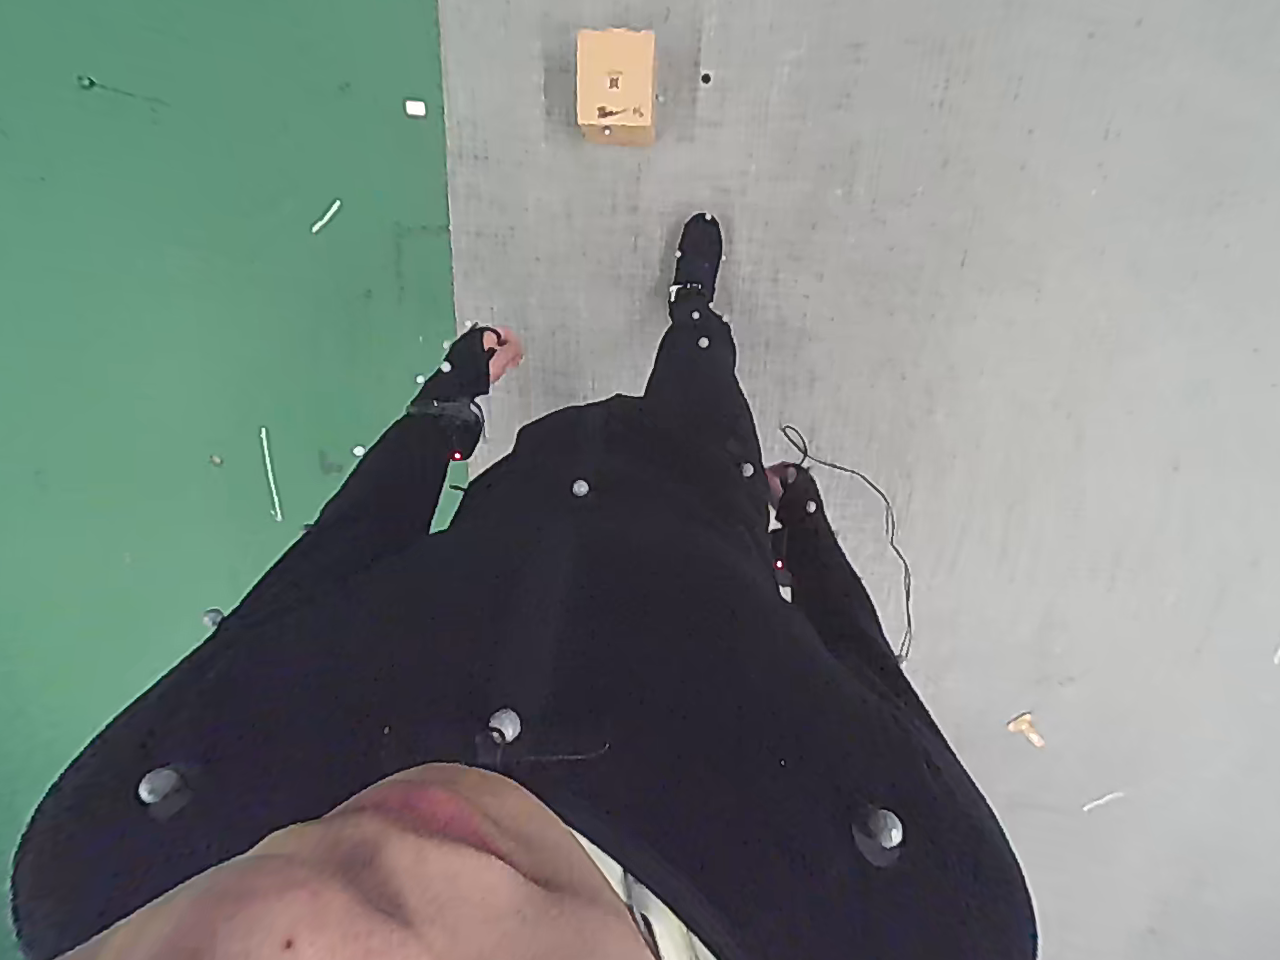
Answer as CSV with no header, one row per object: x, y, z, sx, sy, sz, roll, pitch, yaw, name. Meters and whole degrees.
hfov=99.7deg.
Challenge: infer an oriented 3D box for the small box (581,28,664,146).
-0.036,-0.888,1.235,0.168,0.176,0.179,5,109,5,small box
